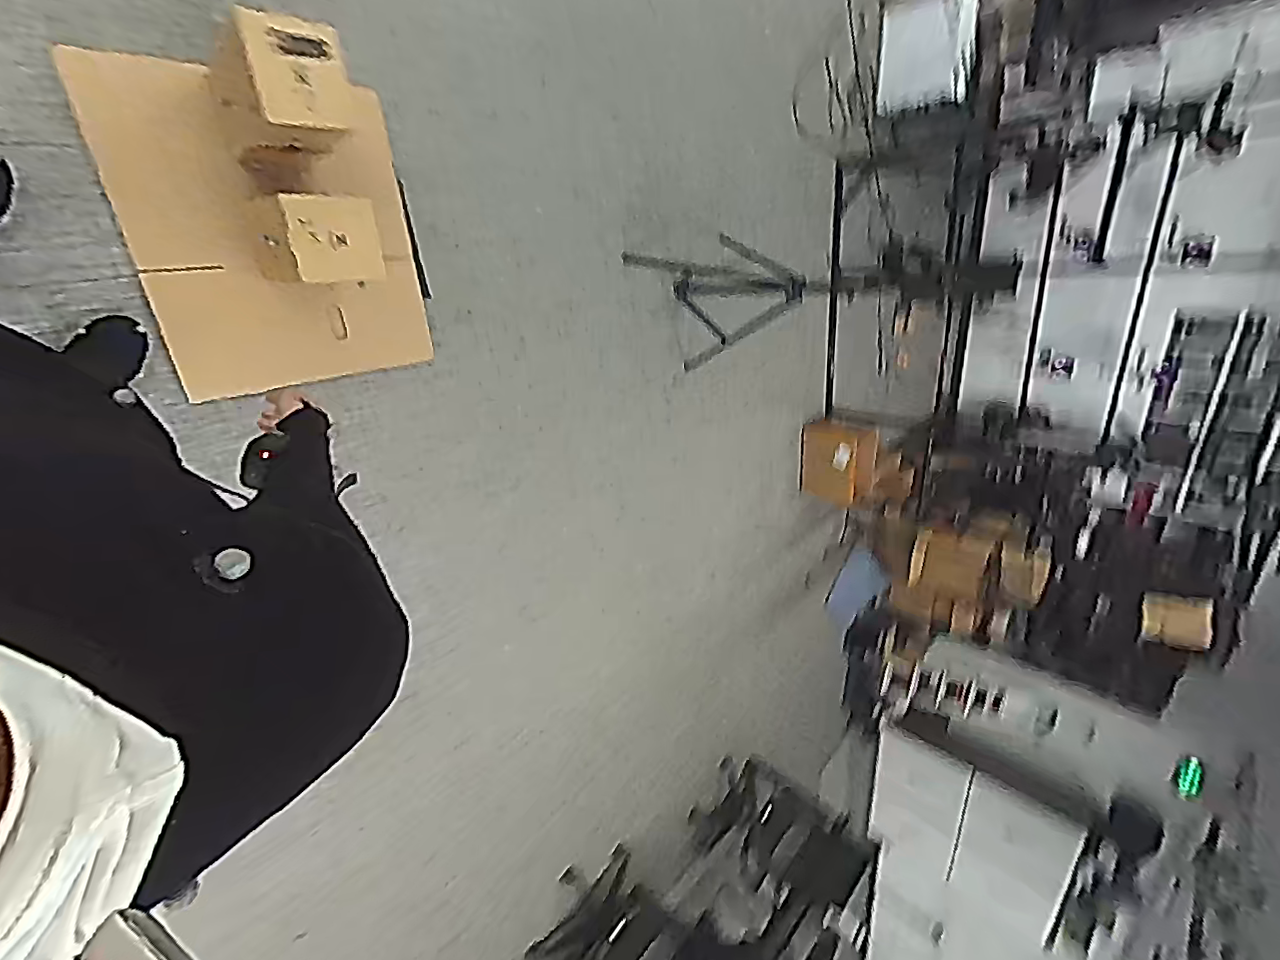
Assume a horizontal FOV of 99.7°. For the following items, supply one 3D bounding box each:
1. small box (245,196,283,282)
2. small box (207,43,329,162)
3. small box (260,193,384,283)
[{"bbox_3d":[-0.810,-0.568,1.288,0.168,0.176,0.179,-21,118,-39],"label":"small box"},{"bbox_3d":[-0.819,-0.815,1.191,0.168,0.176,0.179,-24,118,-39],"label":"small box"},{"bbox_3d":[-0.693,-0.522,1.181,0.179,0.176,0.168,-21,118,-39],"label":"small box"}]
